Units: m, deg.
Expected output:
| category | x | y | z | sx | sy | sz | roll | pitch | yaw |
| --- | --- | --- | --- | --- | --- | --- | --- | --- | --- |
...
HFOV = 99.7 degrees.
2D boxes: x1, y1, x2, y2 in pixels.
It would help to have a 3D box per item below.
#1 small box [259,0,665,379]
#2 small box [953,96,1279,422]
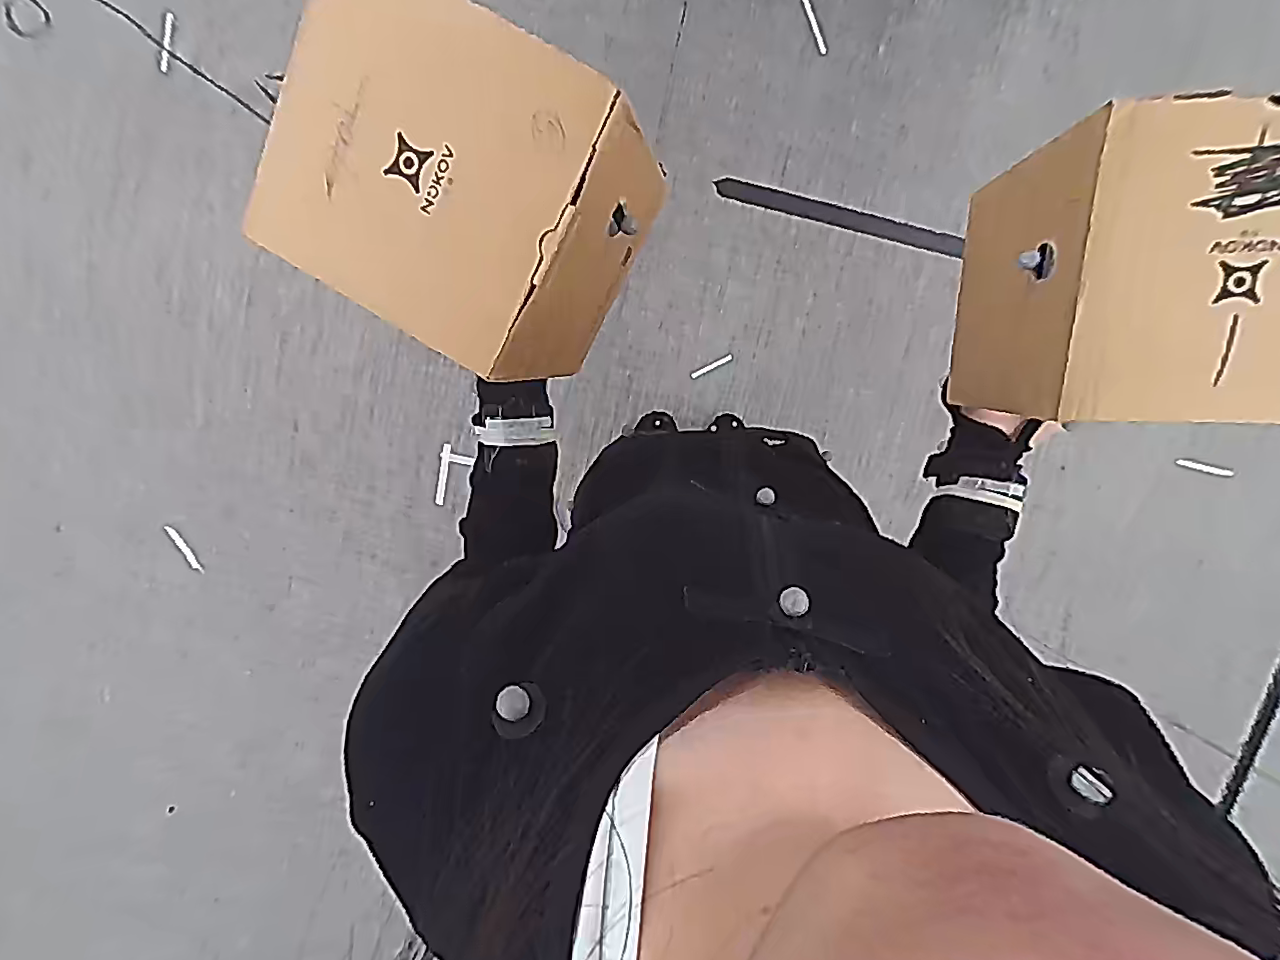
| category | x | y | z | sx | sy | sz | roll | pitch | yaw |
| --- | --- | --- | --- | --- | --- | --- | --- | --- | --- |
| small box | -0.099 | -0.186 | 0.370 | 0.179 | 0.176 | 0.168 | 31 | 105 | 4 |
| small box | 0.347 | -0.136 | 0.381 | 0.168 | 0.176 | 0.179 | 2 | 102 | 8 |
